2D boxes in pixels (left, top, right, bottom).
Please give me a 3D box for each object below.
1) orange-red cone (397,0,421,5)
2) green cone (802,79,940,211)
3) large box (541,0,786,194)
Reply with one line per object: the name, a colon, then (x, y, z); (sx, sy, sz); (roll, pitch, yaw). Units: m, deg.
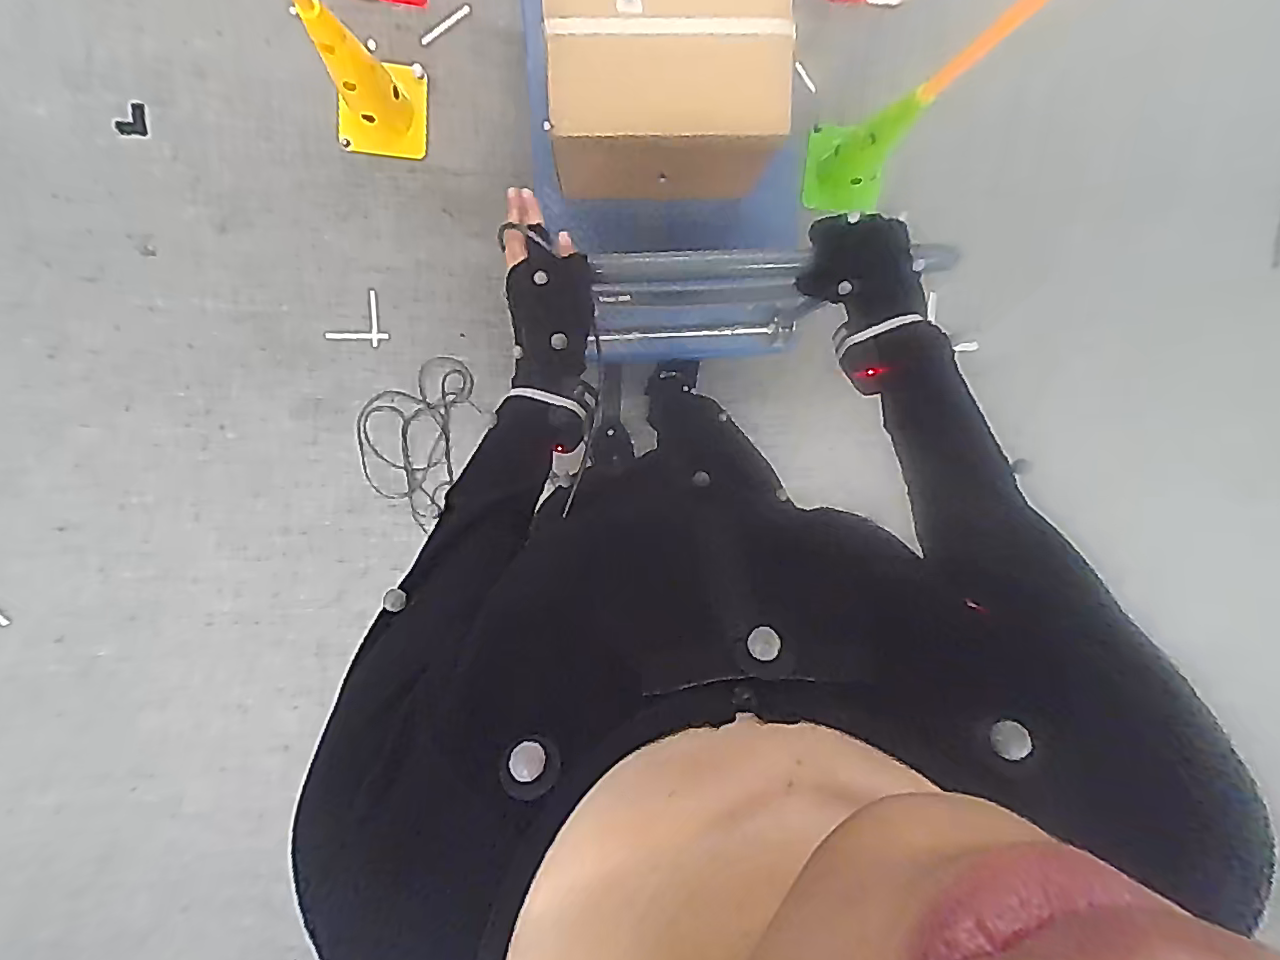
orange-red cone: (-0.563, -1.176, 1.053); (0.198, 0.360, 0.199); (8, 97, -7)
green cone: (0.533, -0.771, 1.208); (0.202, 0.368, 0.200); (4, 99, -7)
large box: (0.035, -0.757, 1.024); (0.408, 0.320, 0.320); (-3, 100, -3)
